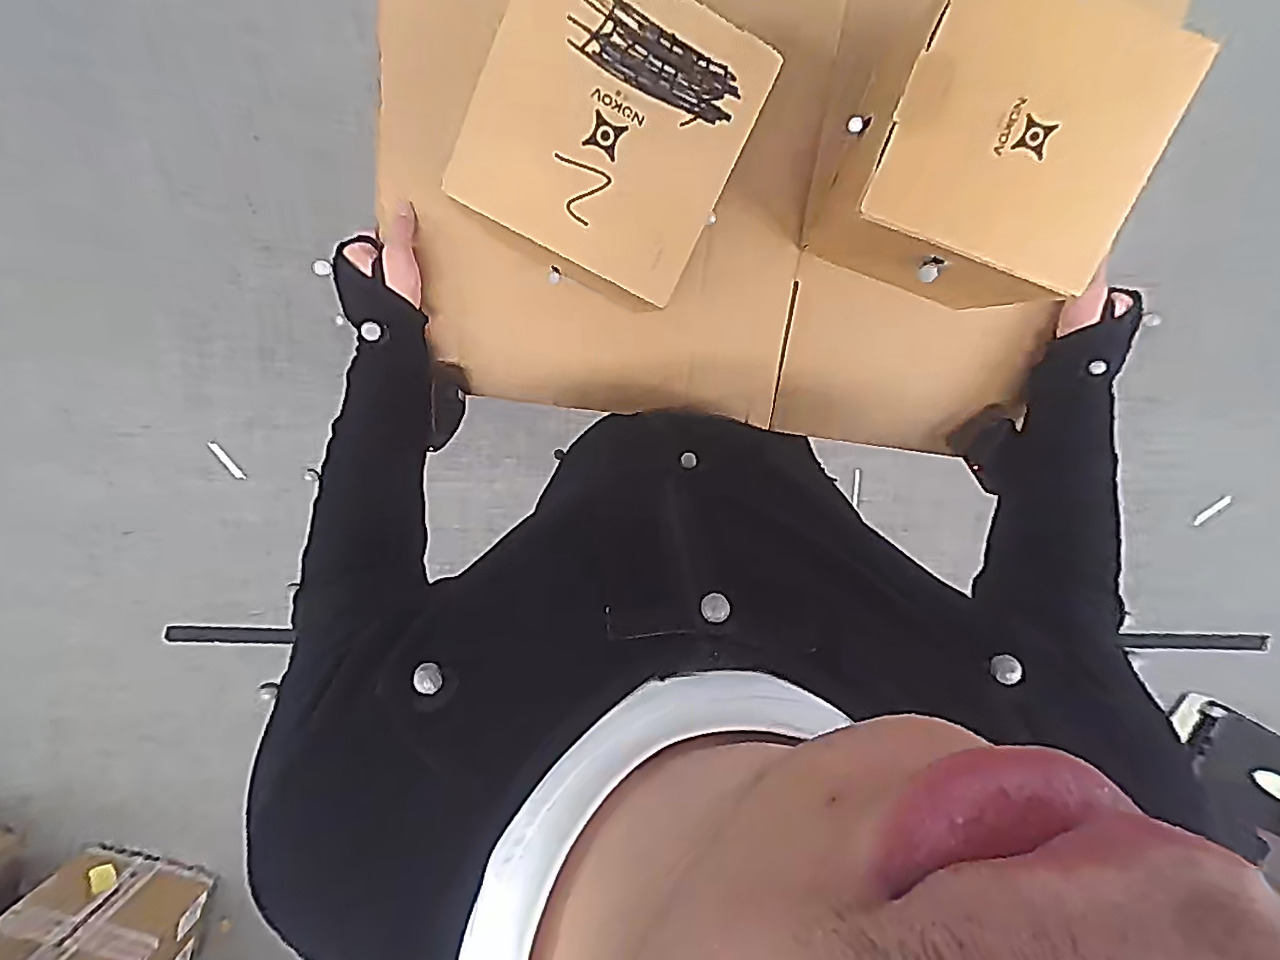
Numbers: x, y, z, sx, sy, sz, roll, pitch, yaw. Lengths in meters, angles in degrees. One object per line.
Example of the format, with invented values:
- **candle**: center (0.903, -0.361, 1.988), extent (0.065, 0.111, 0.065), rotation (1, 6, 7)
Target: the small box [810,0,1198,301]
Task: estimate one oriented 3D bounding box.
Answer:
- **small box**: center (0.270, -0.259, 0.455), extent (0.179, 0.176, 0.168), rotation (20, 105, -1)
